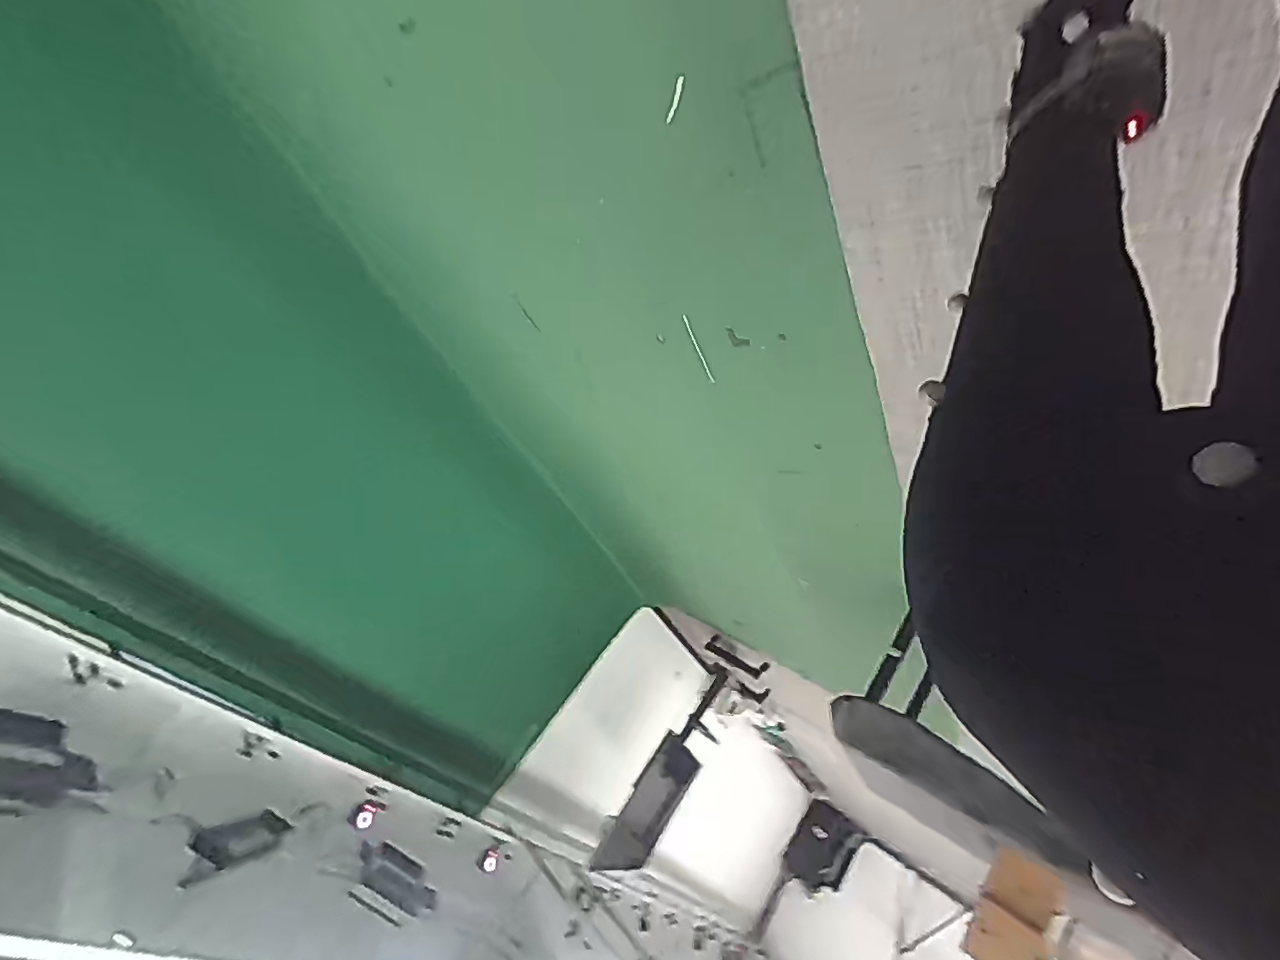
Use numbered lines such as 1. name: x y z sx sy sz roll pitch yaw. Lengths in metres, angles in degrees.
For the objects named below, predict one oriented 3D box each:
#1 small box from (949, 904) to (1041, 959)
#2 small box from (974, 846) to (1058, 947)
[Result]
1. small box: 1.043 1.391 1.587 0.179 0.176 0.168 17 150 48
2. small box: 1.165 1.280 1.667 0.179 0.176 0.168 17 151 48
